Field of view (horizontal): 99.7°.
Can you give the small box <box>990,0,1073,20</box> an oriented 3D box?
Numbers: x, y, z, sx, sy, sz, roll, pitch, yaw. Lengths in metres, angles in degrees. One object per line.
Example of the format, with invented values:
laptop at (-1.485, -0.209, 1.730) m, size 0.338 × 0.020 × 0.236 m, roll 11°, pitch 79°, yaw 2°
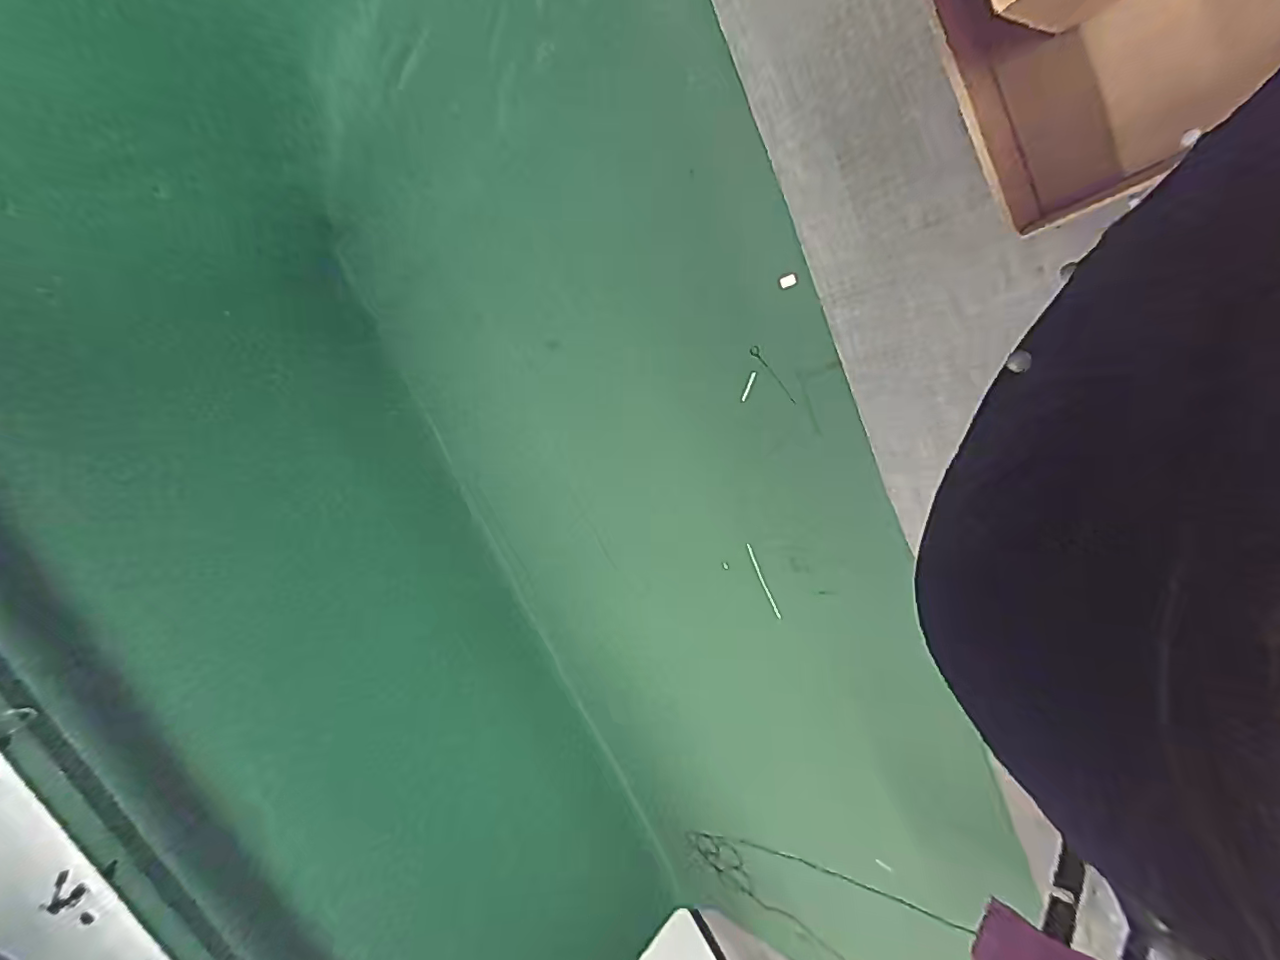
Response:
small box at (0.379, -0.525, 0.441) m, size 0.168 × 0.176 × 0.179 m, roll -11°, pitch 107°, yaw 50°
